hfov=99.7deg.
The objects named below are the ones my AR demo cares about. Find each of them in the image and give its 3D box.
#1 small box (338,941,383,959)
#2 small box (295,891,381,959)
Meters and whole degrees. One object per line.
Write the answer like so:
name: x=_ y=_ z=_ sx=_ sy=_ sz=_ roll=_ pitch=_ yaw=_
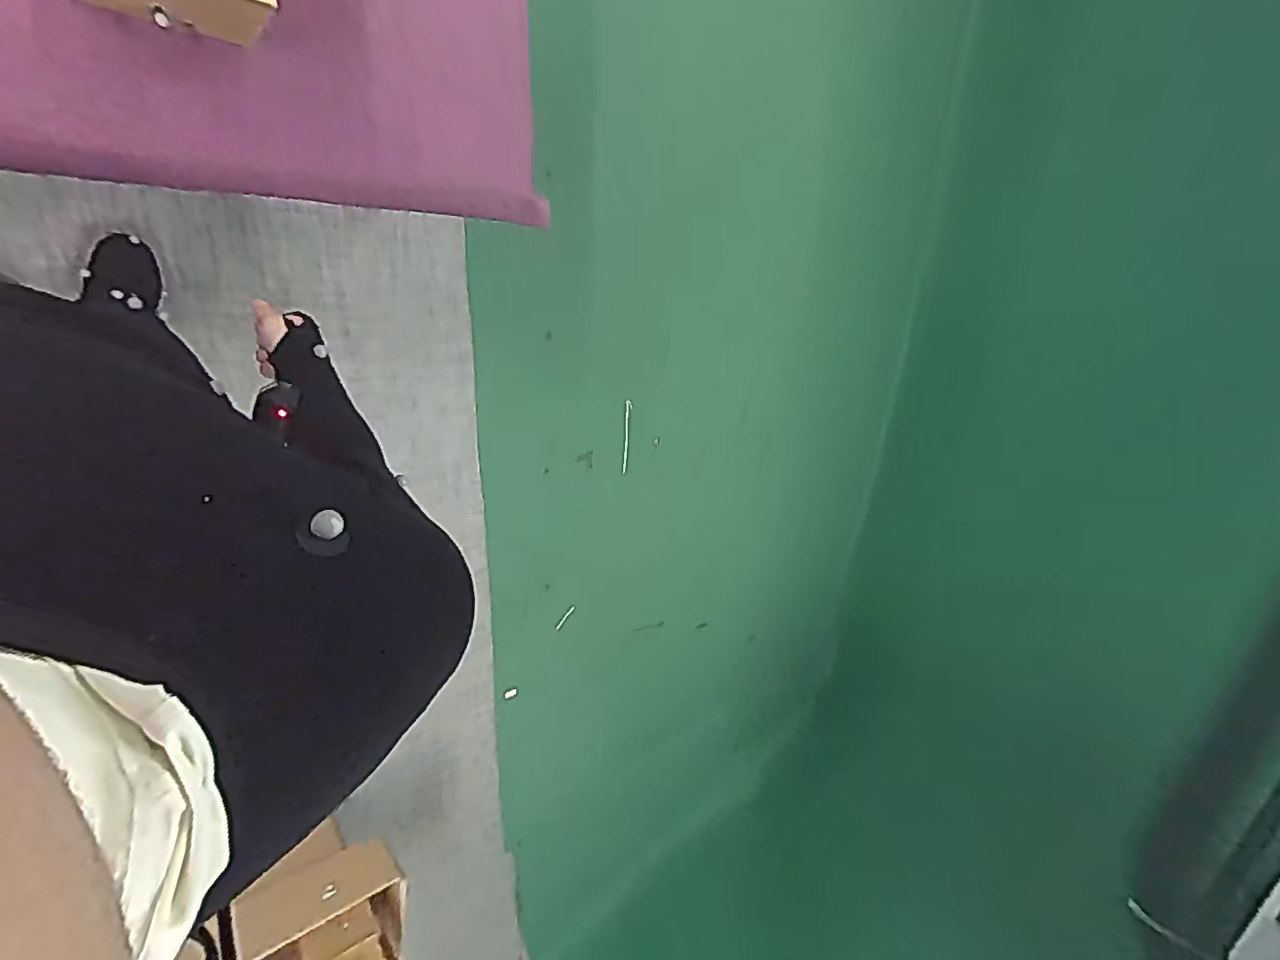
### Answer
small box: x=-0.753 y=1.379 z=1.413 sx=0.168 sy=0.176 sz=0.179 roll=-5 pitch=110 yaw=-42
small box: x=-0.856 y=1.326 z=1.528 sx=0.179 sy=0.176 sz=0.168 roll=-3 pitch=109 yaw=-42
